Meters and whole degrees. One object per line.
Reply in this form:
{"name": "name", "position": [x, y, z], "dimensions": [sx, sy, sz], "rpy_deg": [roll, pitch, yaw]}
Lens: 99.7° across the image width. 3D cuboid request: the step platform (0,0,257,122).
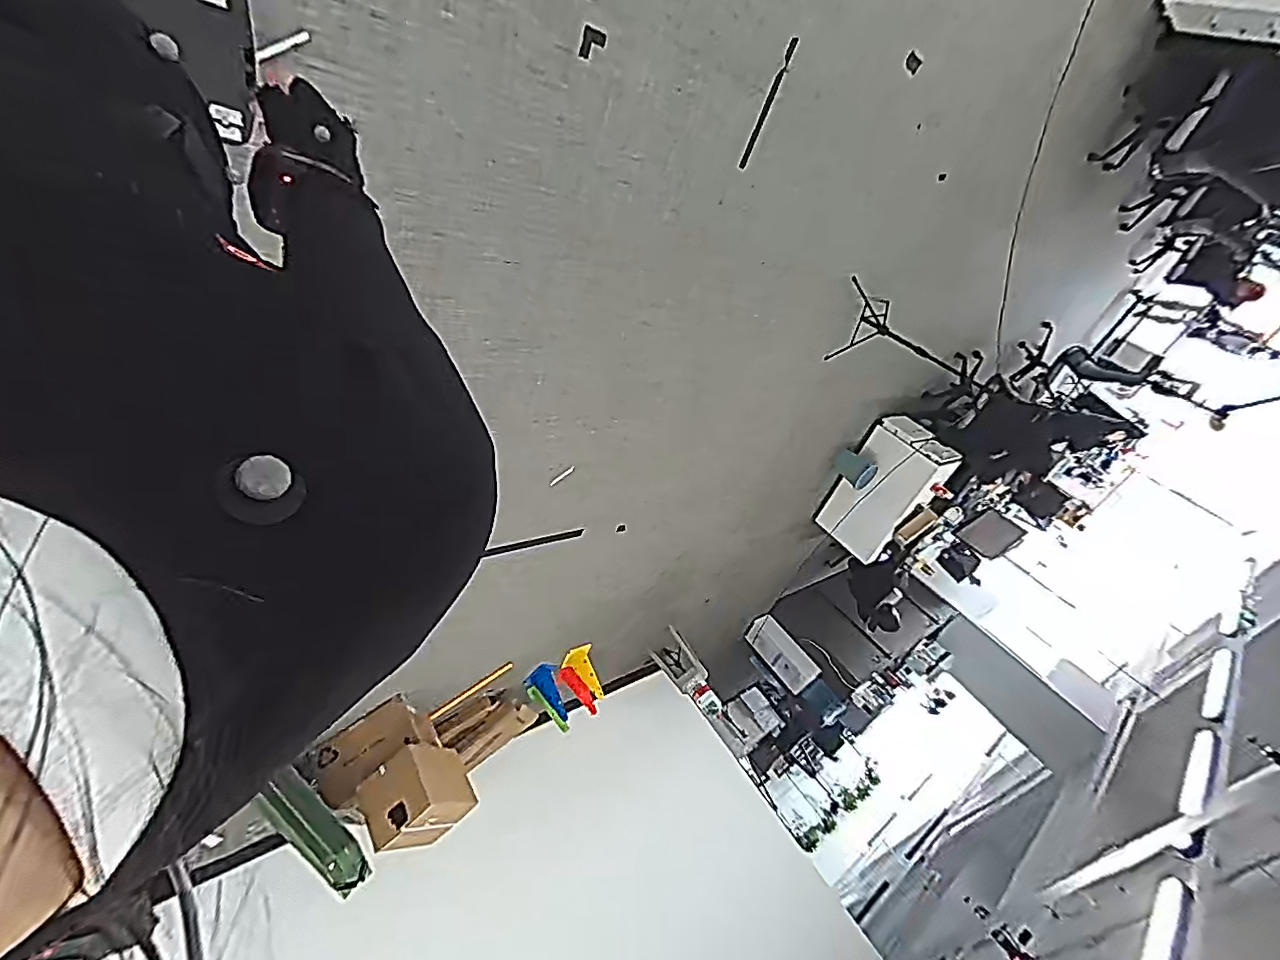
{"name": "step platform", "position": [-0.995, -0.797, 0.815], "dimensions": [0.684, 0.204, 0.286], "rpy_deg": [-9, 134, -39]}
